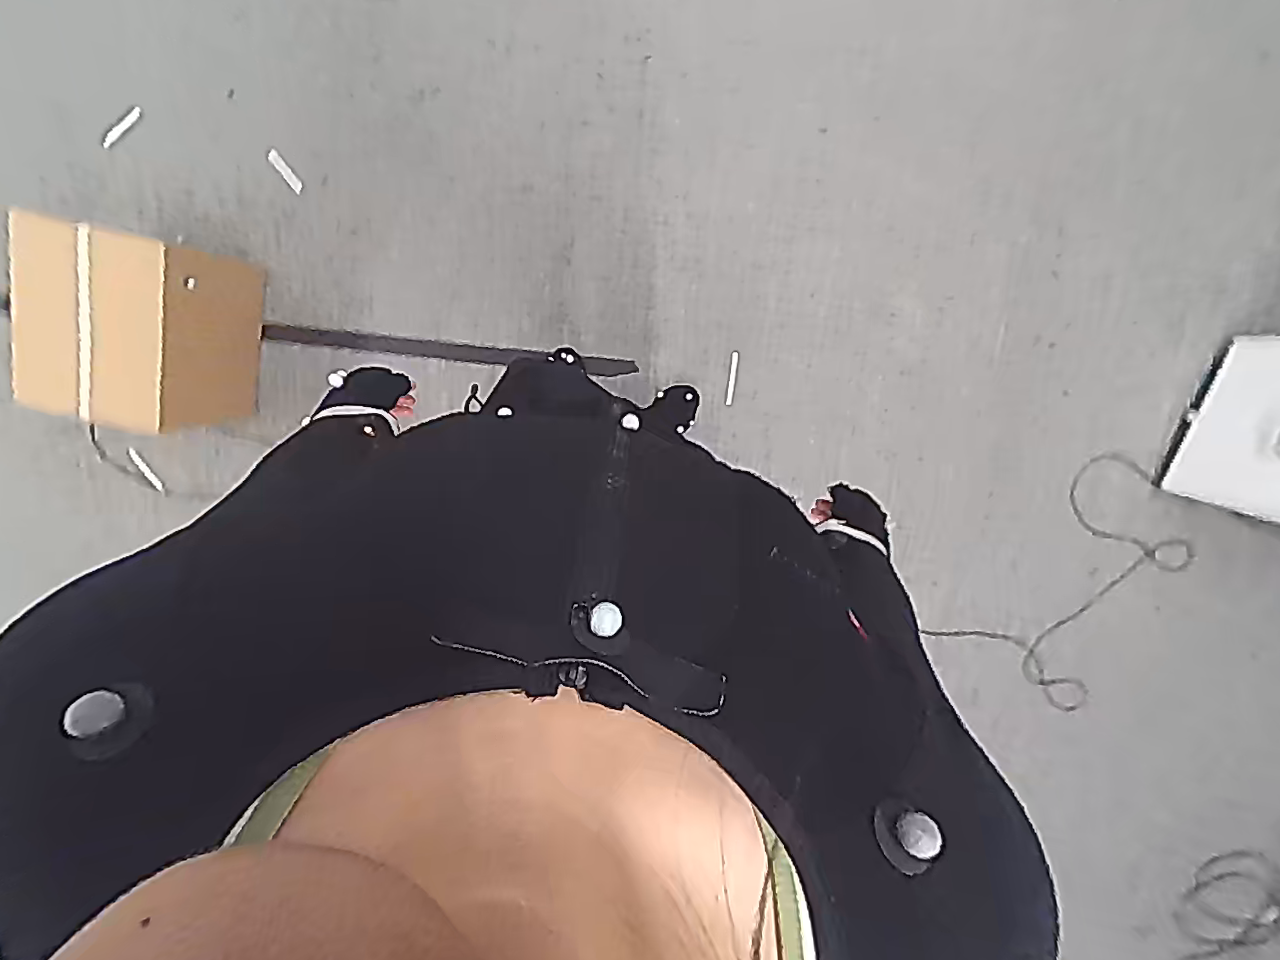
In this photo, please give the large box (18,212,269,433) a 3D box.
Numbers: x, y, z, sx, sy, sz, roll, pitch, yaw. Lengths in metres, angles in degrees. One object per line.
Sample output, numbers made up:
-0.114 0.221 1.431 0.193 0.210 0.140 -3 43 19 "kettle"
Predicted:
-1.134 -0.356 1.275 0.320 0.320 0.408 13 103 -2 "large box"
